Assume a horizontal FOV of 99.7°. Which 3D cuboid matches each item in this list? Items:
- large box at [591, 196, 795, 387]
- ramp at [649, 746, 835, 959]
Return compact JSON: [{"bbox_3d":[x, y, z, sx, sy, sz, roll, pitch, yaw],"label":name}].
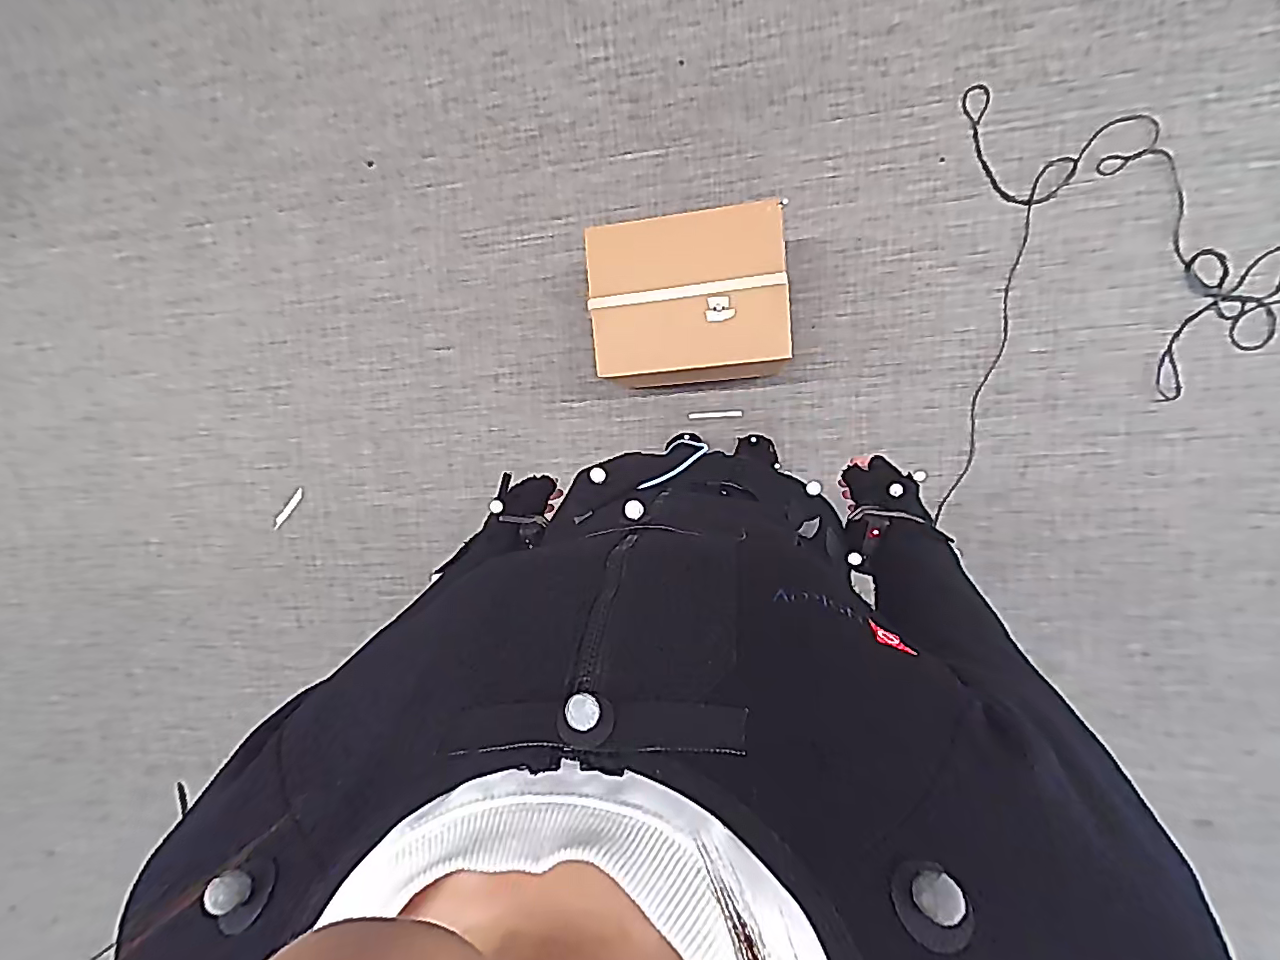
[{"bbox_3d":[0.127,-0.404,1.254,0.408,0.320,0.320,-4,95,10],"label":"large box"},{"bbox_3d":[0.264,1.246,1.441,0.509,0.206,0.991,-2,94,12],"label":"ramp"}]
